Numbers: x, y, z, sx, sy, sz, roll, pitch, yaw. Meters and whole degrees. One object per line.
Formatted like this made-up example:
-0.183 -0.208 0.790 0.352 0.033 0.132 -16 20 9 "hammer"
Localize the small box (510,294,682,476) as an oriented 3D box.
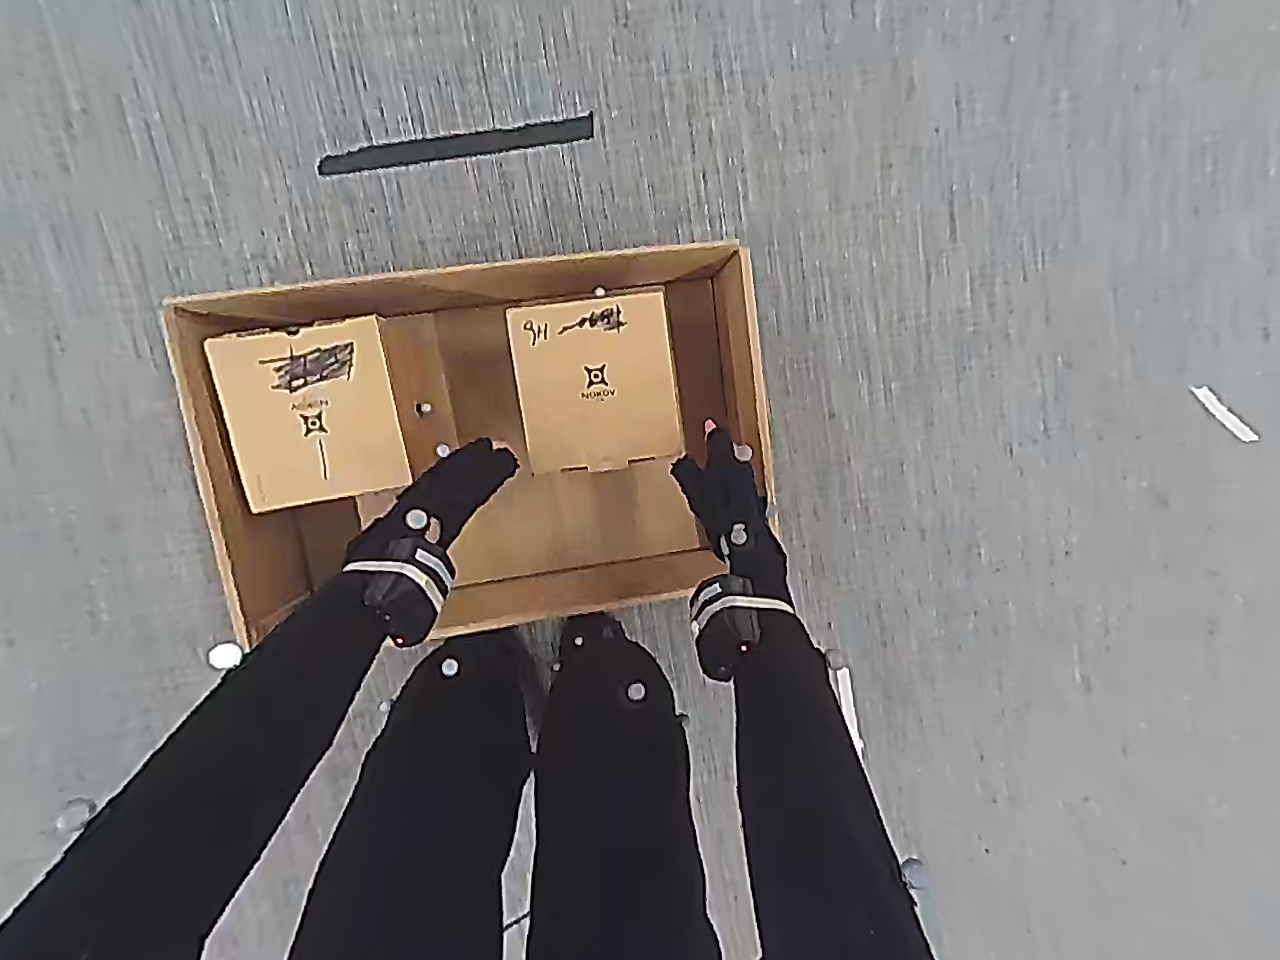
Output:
-0.051 -0.111 0.647 0.168 0.176 0.179 -8 99 -5 "small box"
